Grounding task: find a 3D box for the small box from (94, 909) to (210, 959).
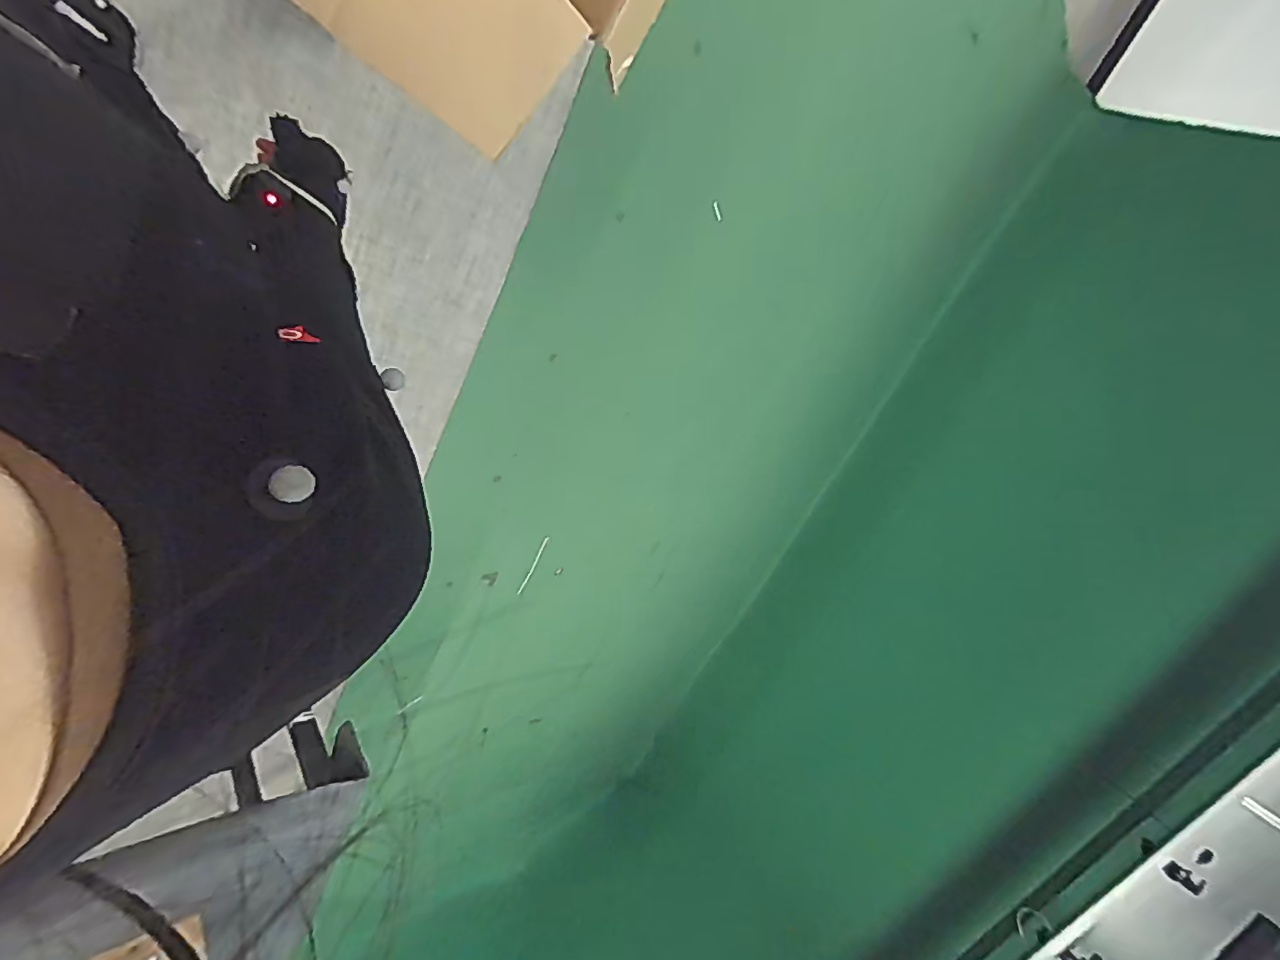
[{"bbox_3d":[-0.969,1.011,1.069,0.168,0.176,0.179,5,120,-50],"label":"small box"}]
